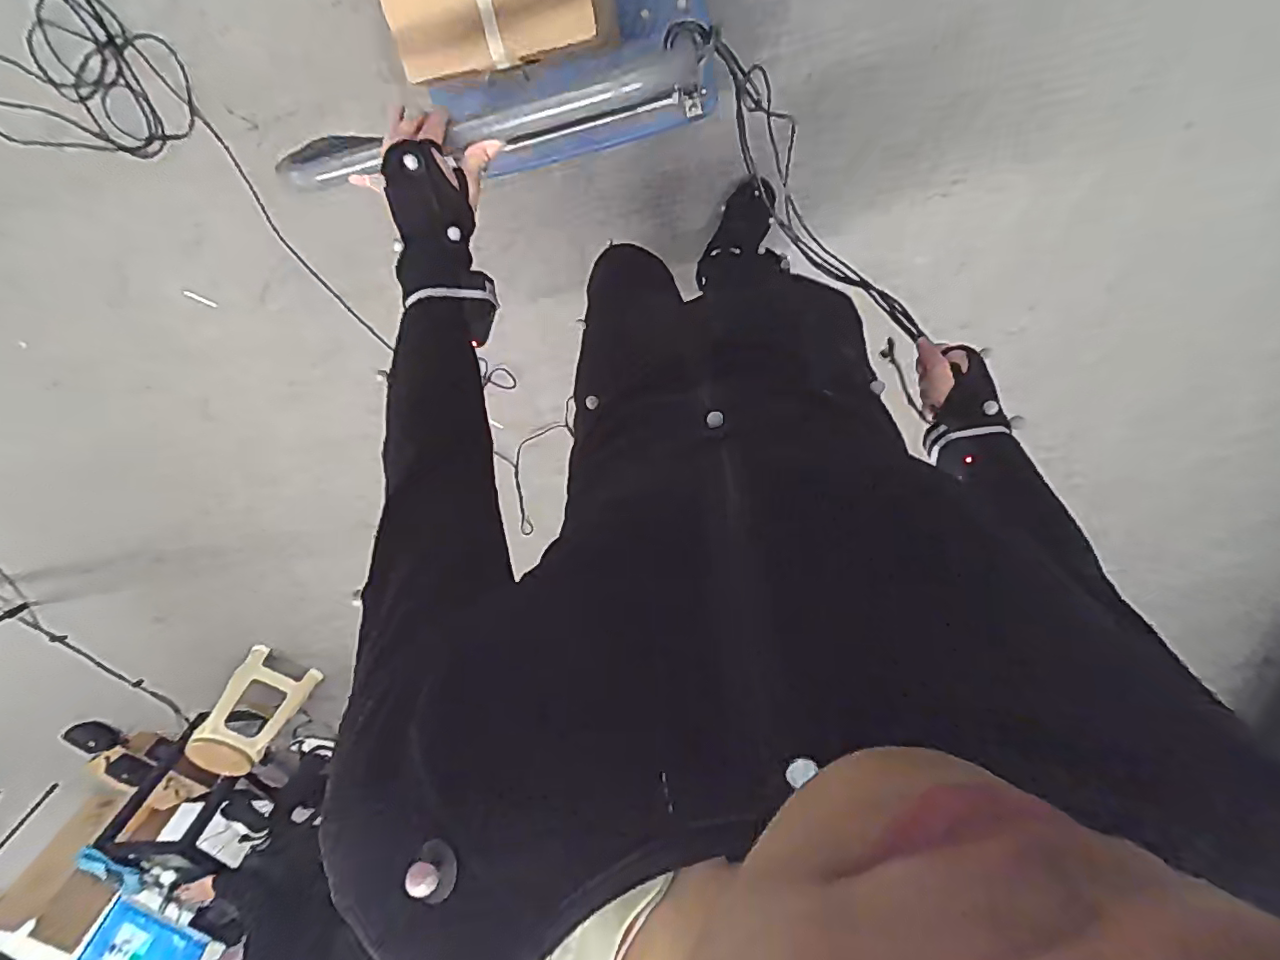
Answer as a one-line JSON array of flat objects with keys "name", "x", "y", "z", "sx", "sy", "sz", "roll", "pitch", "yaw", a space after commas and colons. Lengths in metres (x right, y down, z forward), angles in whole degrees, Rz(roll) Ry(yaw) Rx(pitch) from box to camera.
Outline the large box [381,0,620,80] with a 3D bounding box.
[{"name": "large box", "x": -0.236, "y": -0.891, "z": 0.823, "sx": 0.320, "sy": 0.320, "sz": 0.408, "roll": -6, "pitch": 124, "yaw": 10}]
